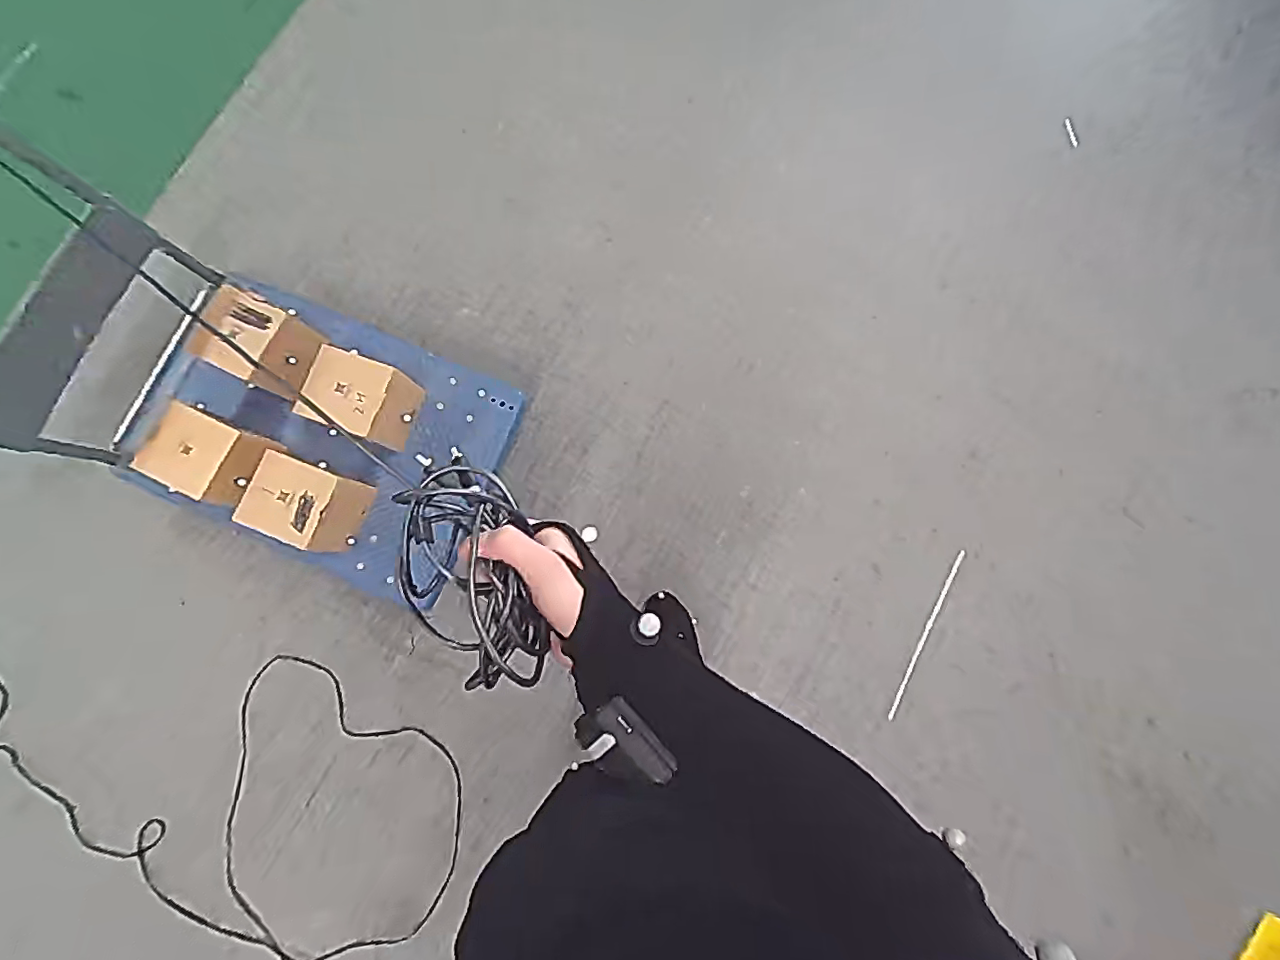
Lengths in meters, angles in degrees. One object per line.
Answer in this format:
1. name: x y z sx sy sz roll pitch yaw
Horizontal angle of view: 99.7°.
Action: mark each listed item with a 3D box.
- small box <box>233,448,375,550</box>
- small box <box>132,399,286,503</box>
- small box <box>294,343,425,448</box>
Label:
1. small box: -0.727 0.048 1.196 0.179 0.176 0.168 21 81 4
2. small box: -0.953 -0.056 1.216 0.179 0.176 0.168 25 82 5
3. small box: -0.628 -0.183 1.232 0.179 0.176 0.168 19 82 3
